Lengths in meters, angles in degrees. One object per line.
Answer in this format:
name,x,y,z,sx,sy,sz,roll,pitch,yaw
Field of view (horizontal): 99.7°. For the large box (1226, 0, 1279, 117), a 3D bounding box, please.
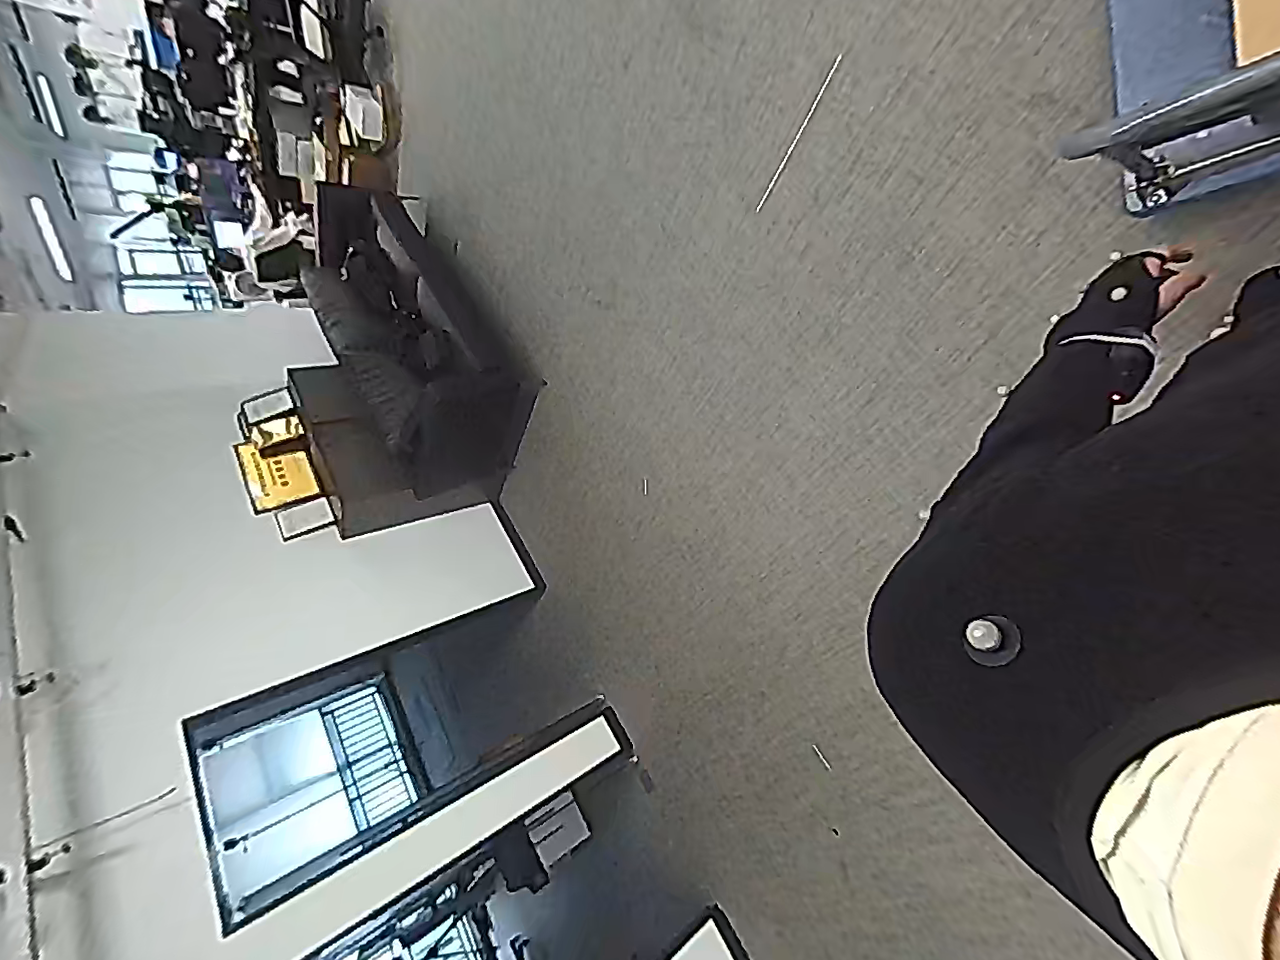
large box,1.010,-0.794,0.711,0.320,0.320,0.408,-3,99,51
